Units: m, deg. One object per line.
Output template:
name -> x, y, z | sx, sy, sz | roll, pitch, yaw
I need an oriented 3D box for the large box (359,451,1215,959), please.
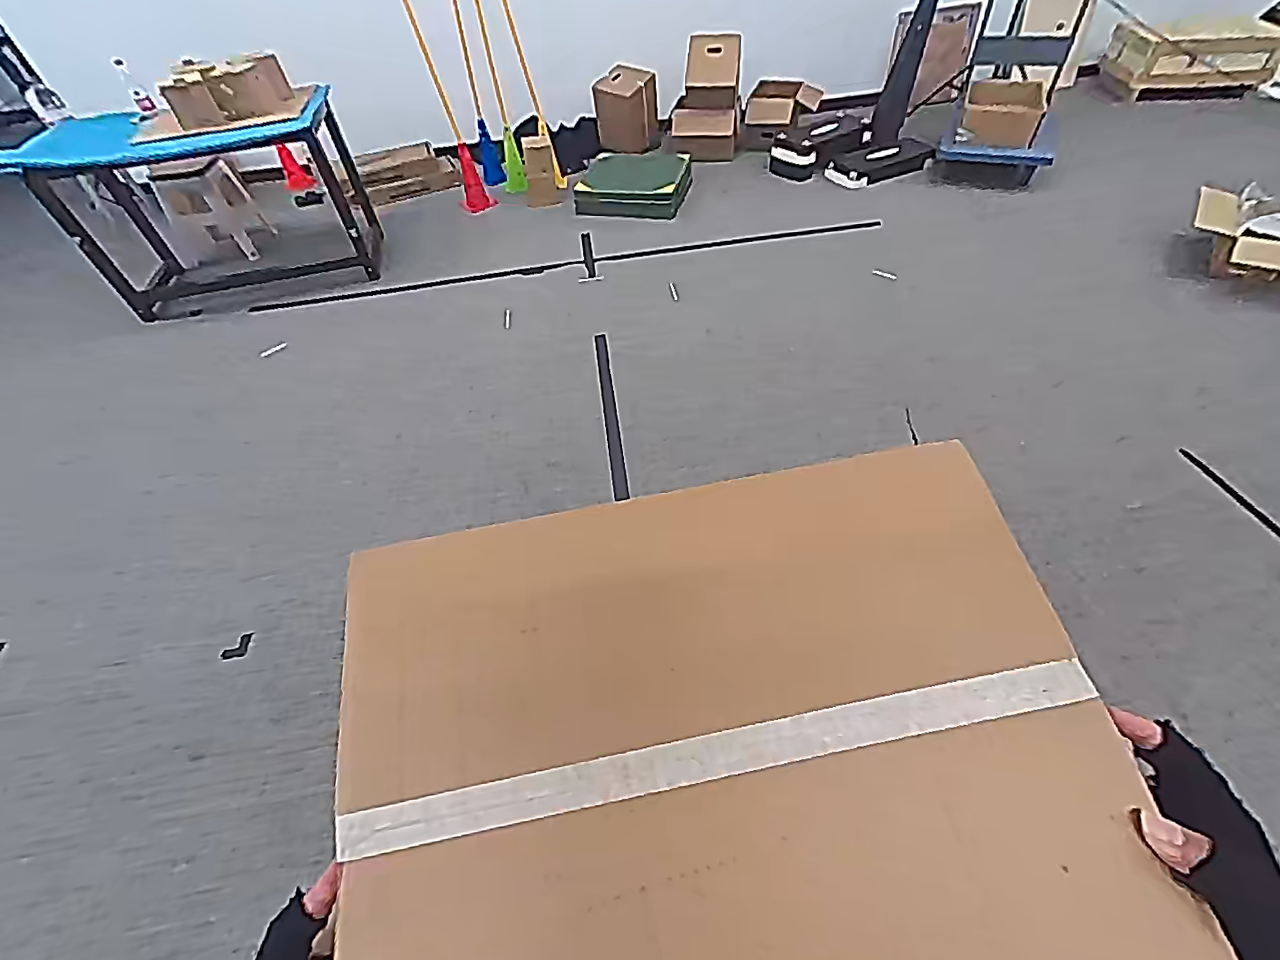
large box -> 0.052, 0.218, 0.429 | 0.408, 0.320, 0.320 | -11, 64, -2
